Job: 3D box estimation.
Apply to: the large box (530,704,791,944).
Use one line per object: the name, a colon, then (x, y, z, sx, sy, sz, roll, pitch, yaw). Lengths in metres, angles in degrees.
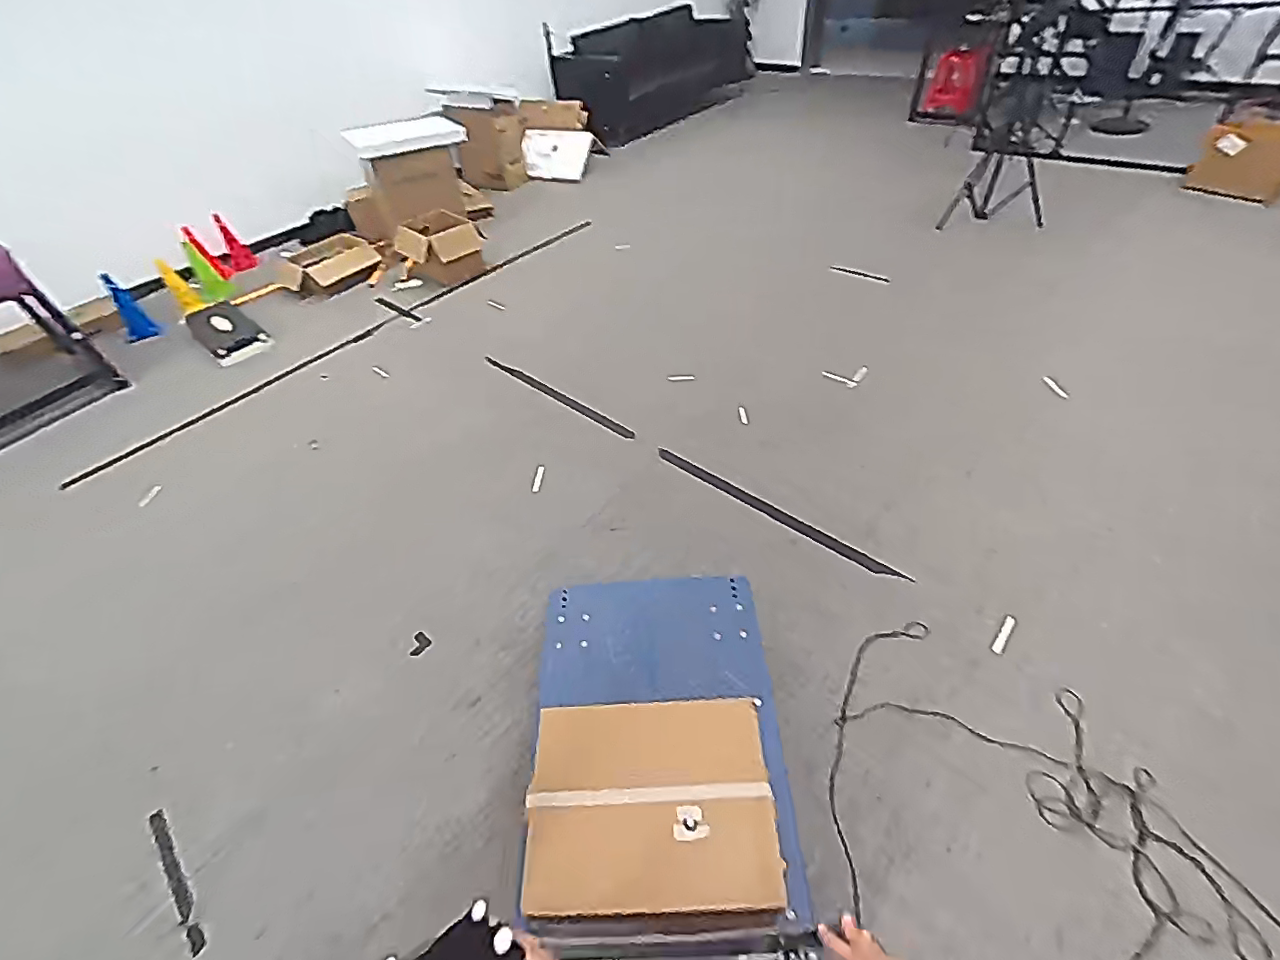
large box: (0.032, 0.648, 1.016, 0.408, 0.320, 0.320, -4, 46, 2)
